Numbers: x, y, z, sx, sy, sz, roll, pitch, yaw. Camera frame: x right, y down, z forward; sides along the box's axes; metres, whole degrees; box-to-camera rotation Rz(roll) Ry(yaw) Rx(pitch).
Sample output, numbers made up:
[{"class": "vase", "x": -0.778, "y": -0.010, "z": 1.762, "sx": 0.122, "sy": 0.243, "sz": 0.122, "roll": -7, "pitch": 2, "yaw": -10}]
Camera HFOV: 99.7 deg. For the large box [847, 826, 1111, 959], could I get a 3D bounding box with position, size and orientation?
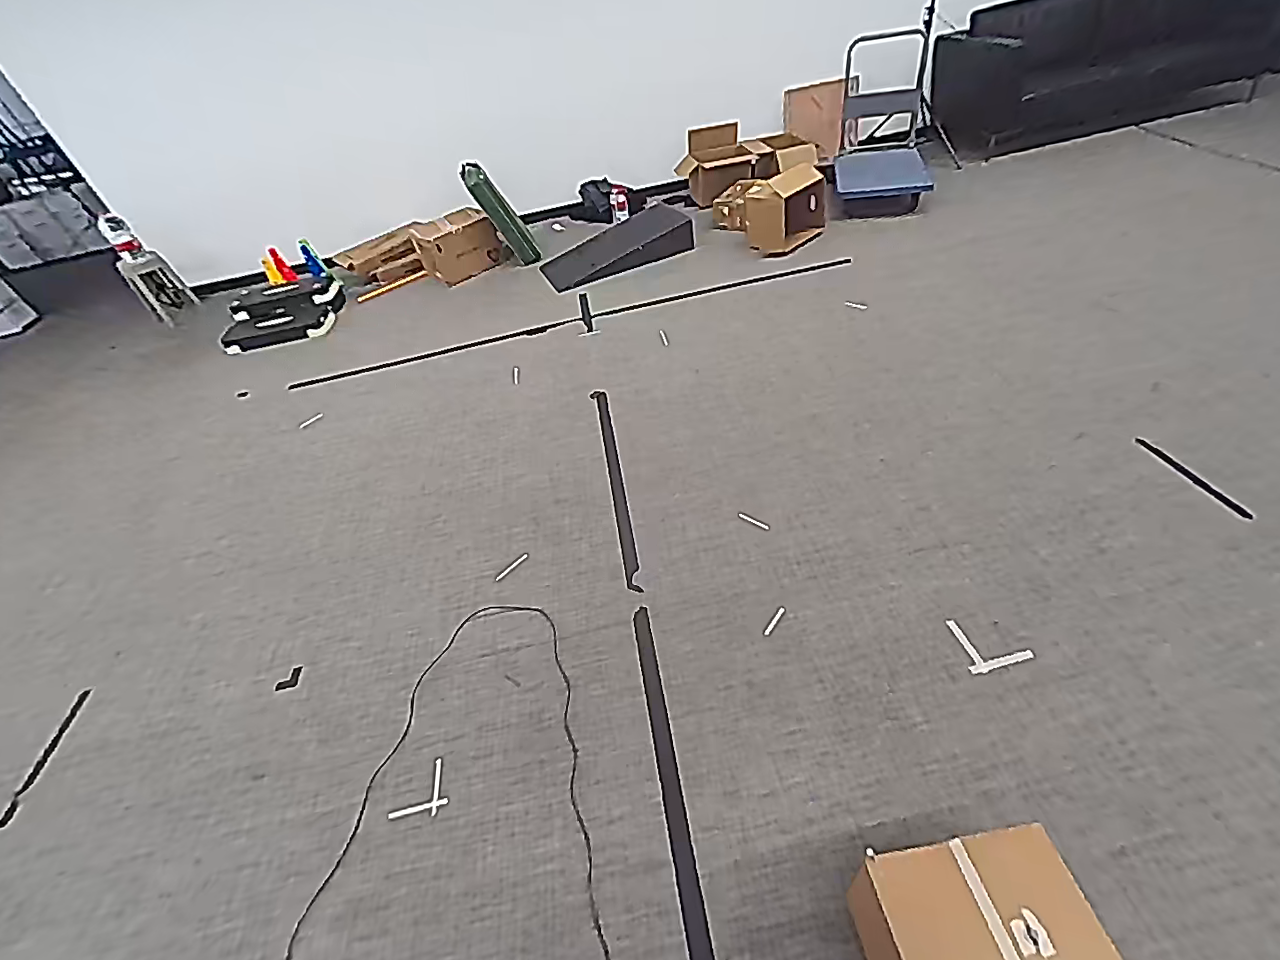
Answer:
[{"class": "large box", "x": 0.589, "y": 0.876, "z": 0.902, "sx": 0.320, "sy": 0.320, "sz": 0.408, "roll": -11, "pitch": 42, "yaw": -1}]
